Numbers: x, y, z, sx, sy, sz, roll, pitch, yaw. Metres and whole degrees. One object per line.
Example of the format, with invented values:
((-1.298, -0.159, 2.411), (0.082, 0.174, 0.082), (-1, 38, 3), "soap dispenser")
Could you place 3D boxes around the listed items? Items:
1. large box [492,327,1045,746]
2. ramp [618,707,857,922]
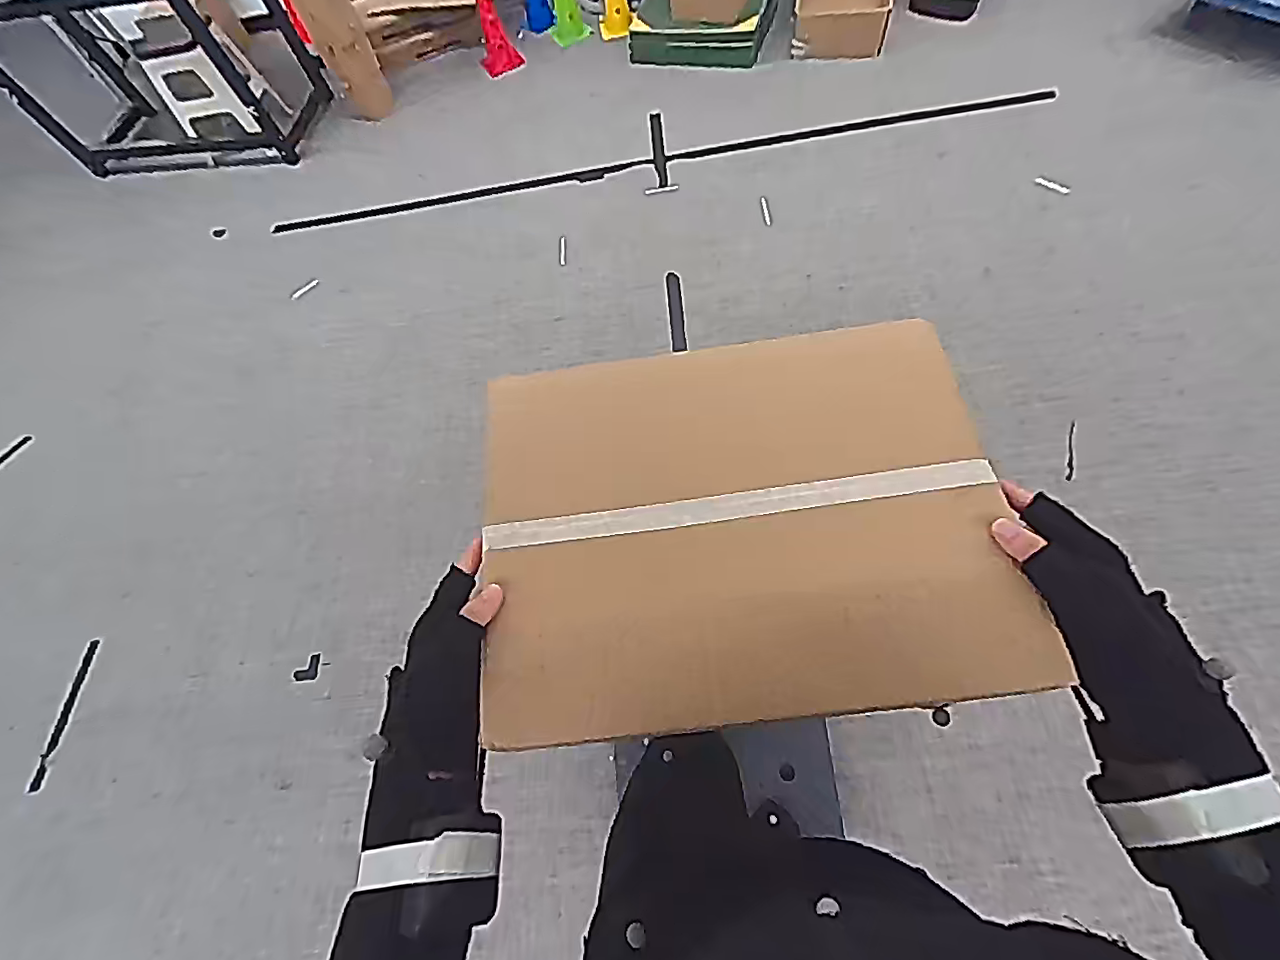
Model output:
((0.089, 0.084, 0.581), (0.408, 0.320, 0.320), (-8, 65, 3), "large box")
((0.180, 0.460, 1.298), (0.509, 0.206, 0.991), (-8, 64, 3), "ramp")
